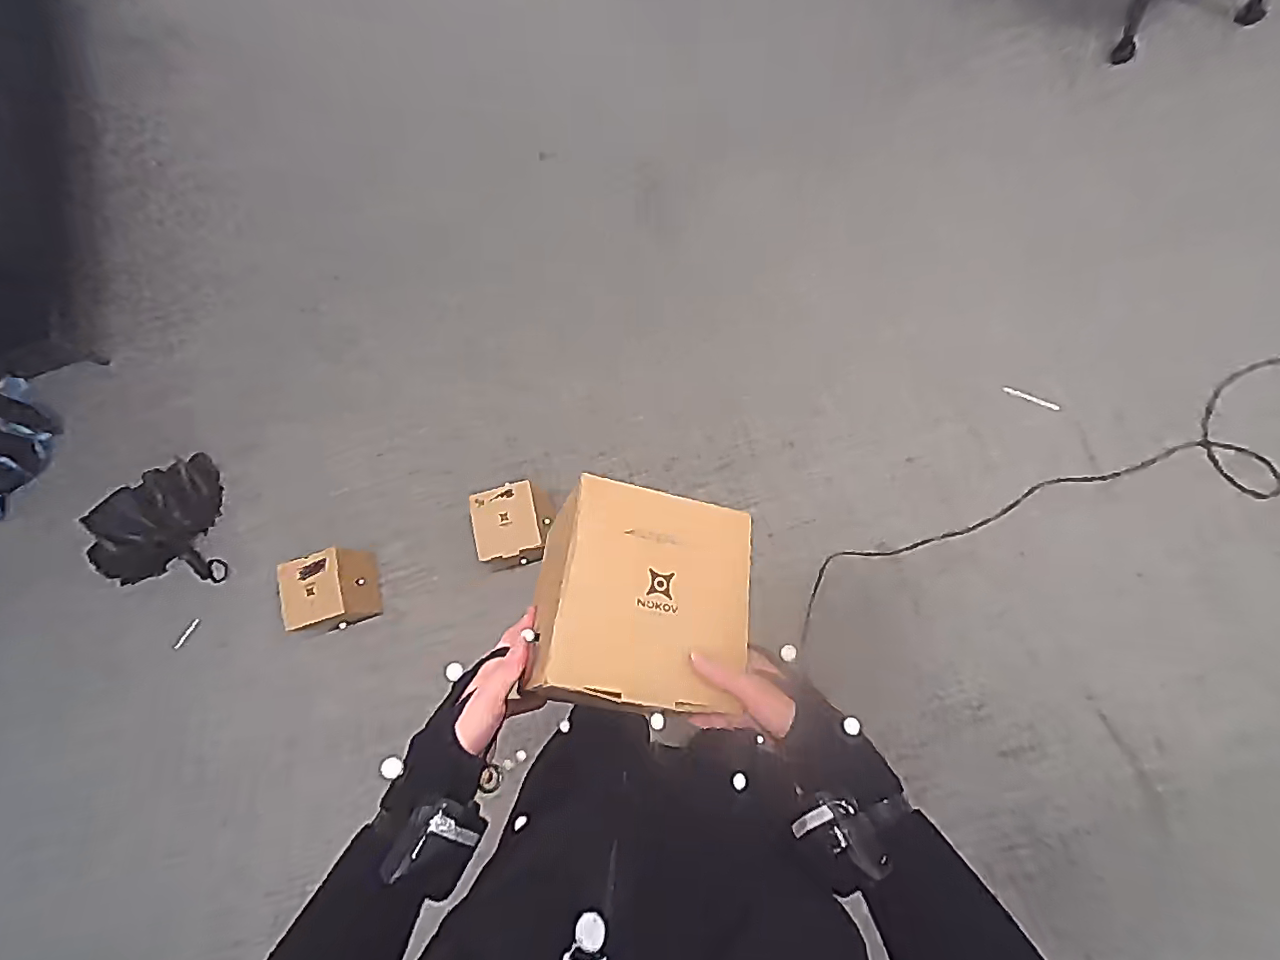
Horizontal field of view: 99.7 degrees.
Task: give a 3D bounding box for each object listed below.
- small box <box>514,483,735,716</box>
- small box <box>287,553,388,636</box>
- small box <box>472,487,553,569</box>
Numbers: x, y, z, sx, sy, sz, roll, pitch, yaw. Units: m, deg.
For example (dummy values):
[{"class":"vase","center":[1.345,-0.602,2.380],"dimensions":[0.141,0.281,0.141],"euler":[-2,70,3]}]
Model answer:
[{"class":"small box","center":[-0.022,0.128,0.531],"dimensions":[0.168,0.176,0.179],"euler":[14,63,-14]},{"class":"small box","center":[-0.815,0.312,1.466],"dimensions":[0.168,0.176,0.179],"euler":[-19,76,4]},{"class":"small box","center":[-0.323,0.135,1.438],"dimensions":[0.168,0.176,0.179],"euler":[-16,76,4]}]
